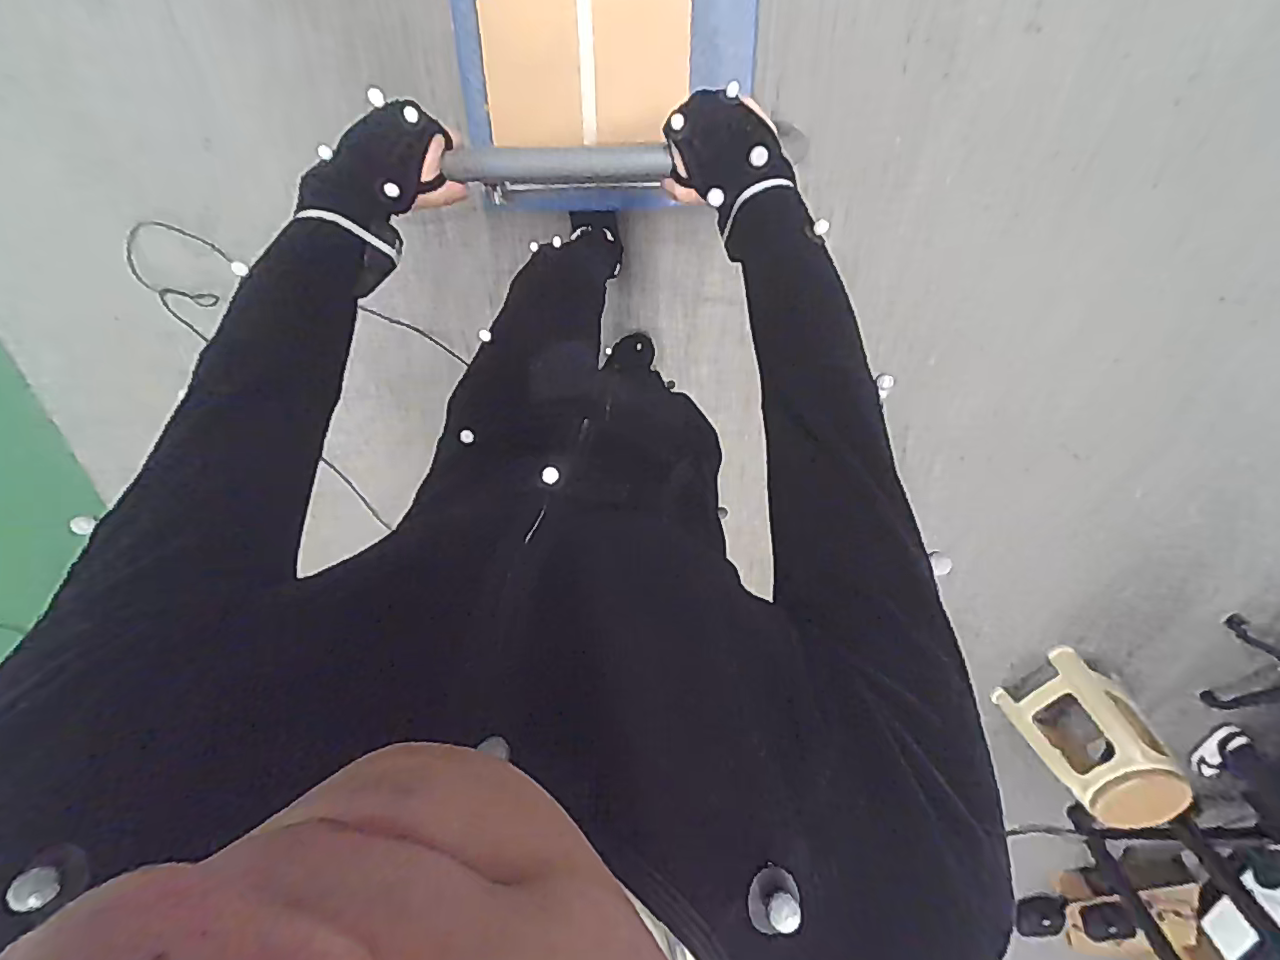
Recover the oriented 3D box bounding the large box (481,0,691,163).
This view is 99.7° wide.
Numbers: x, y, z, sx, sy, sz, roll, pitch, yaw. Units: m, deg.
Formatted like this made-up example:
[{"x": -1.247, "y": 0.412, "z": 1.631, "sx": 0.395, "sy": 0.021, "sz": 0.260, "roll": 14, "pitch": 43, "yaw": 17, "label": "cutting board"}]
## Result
[{"x": -0.075, "y": -0.784, "z": 0.921, "sx": 0.320, "sy": 0.320, "sz": 0.408, "roll": 0, "pitch": 118, "yaw": 2, "label": "large box"}]
